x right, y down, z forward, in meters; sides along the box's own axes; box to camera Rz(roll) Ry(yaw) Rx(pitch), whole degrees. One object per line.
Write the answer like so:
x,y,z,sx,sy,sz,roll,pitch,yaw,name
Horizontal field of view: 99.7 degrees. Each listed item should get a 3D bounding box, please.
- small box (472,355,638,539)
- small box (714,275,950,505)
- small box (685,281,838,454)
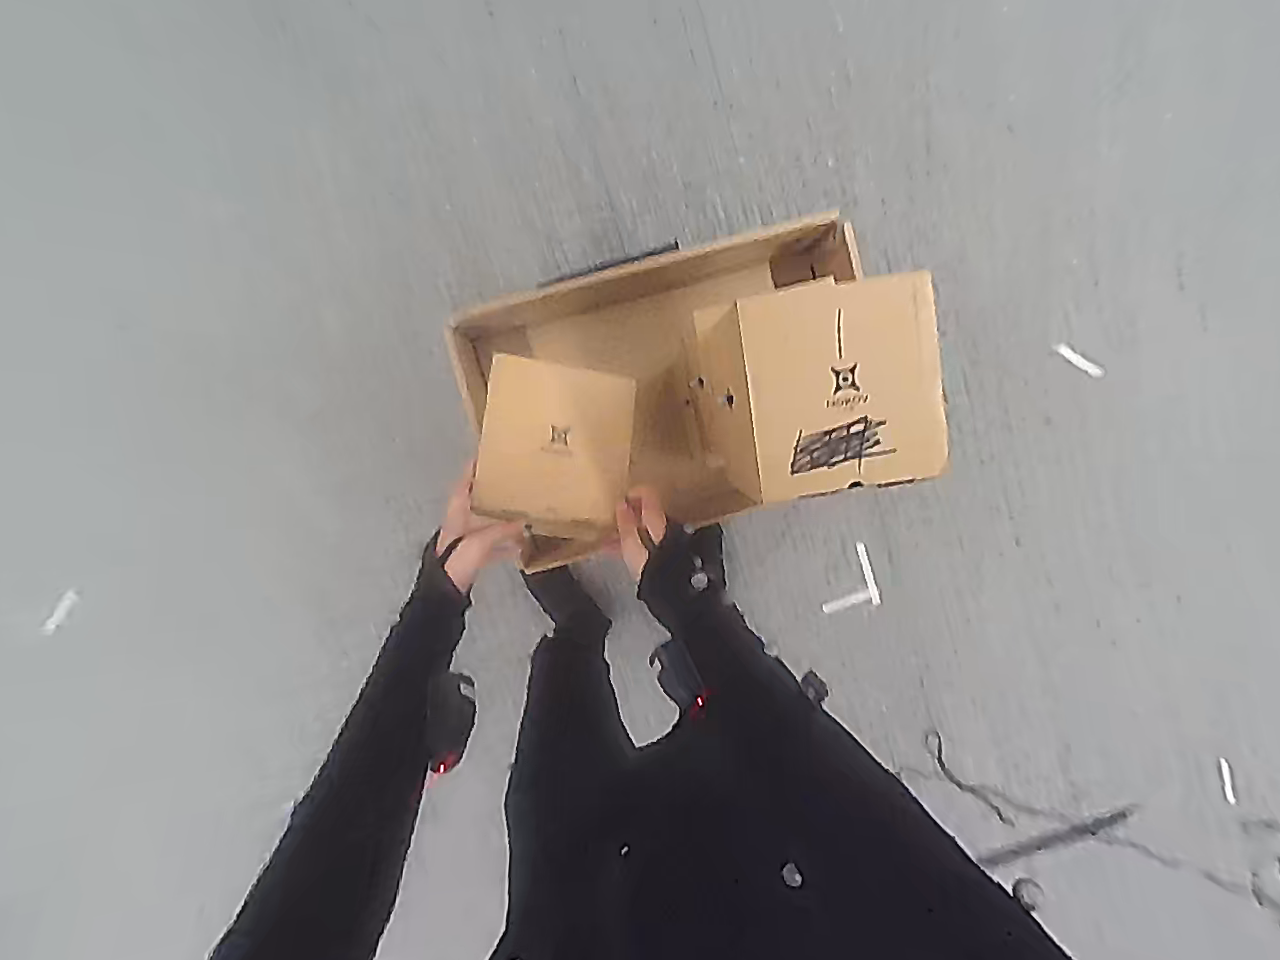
-0.110,-0.027,0.660,0.168,0.176,0.179,8,79,-16,small box
0.173,-0.083,0.534,0.168,0.176,0.179,-8,95,0,small box
0.160,-0.131,0.694,0.168,0.176,0.179,-13,96,1,small box
